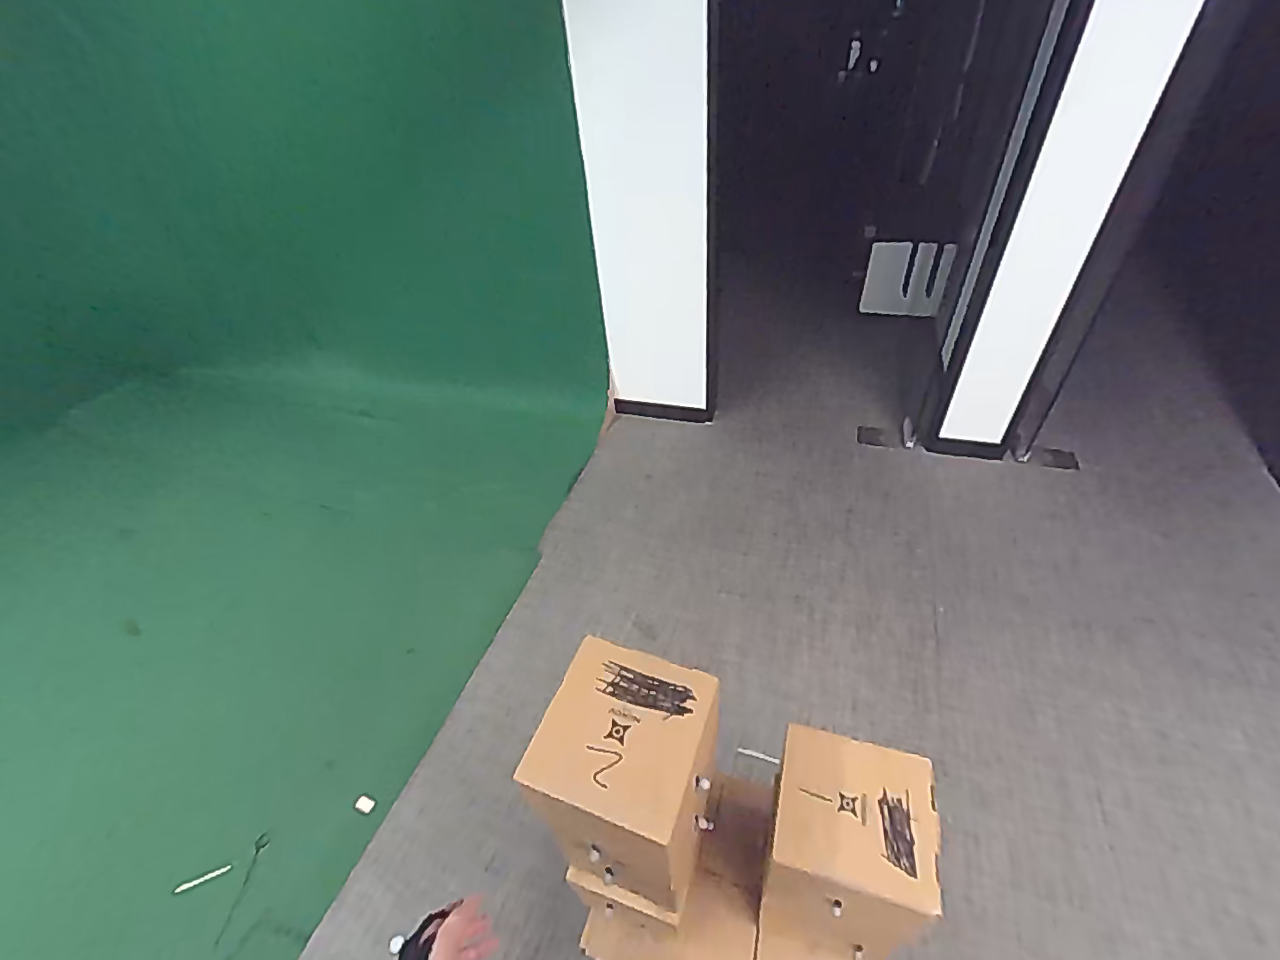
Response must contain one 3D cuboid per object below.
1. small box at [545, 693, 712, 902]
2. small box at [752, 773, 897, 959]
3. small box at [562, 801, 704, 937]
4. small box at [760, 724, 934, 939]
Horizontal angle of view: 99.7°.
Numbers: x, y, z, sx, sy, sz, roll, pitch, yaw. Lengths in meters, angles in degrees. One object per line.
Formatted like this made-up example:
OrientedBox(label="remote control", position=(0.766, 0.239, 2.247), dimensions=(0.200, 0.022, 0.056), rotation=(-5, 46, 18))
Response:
OrientedBox(label="small box", position=(-0.005, 0.433, 0.738), dimensions=(0.168, 0.176, 0.179), rotation=(13, 45, 18))
OrientedBox(label="small box", position=(0.269, 0.573, 0.802), dimensions=(0.179, 0.176, 0.168), rotation=(8, 43, 17))
OrientedBox(label="small box", position=(0.001, 0.564, 0.838), dimensions=(0.168, 0.176, 0.179), rotation=(12, 44, 17))
OrientedBox(label="small box", position=(0.257, 0.451, 0.693), dimensions=(0.179, 0.176, 0.168), rotation=(9, 43, 18))
